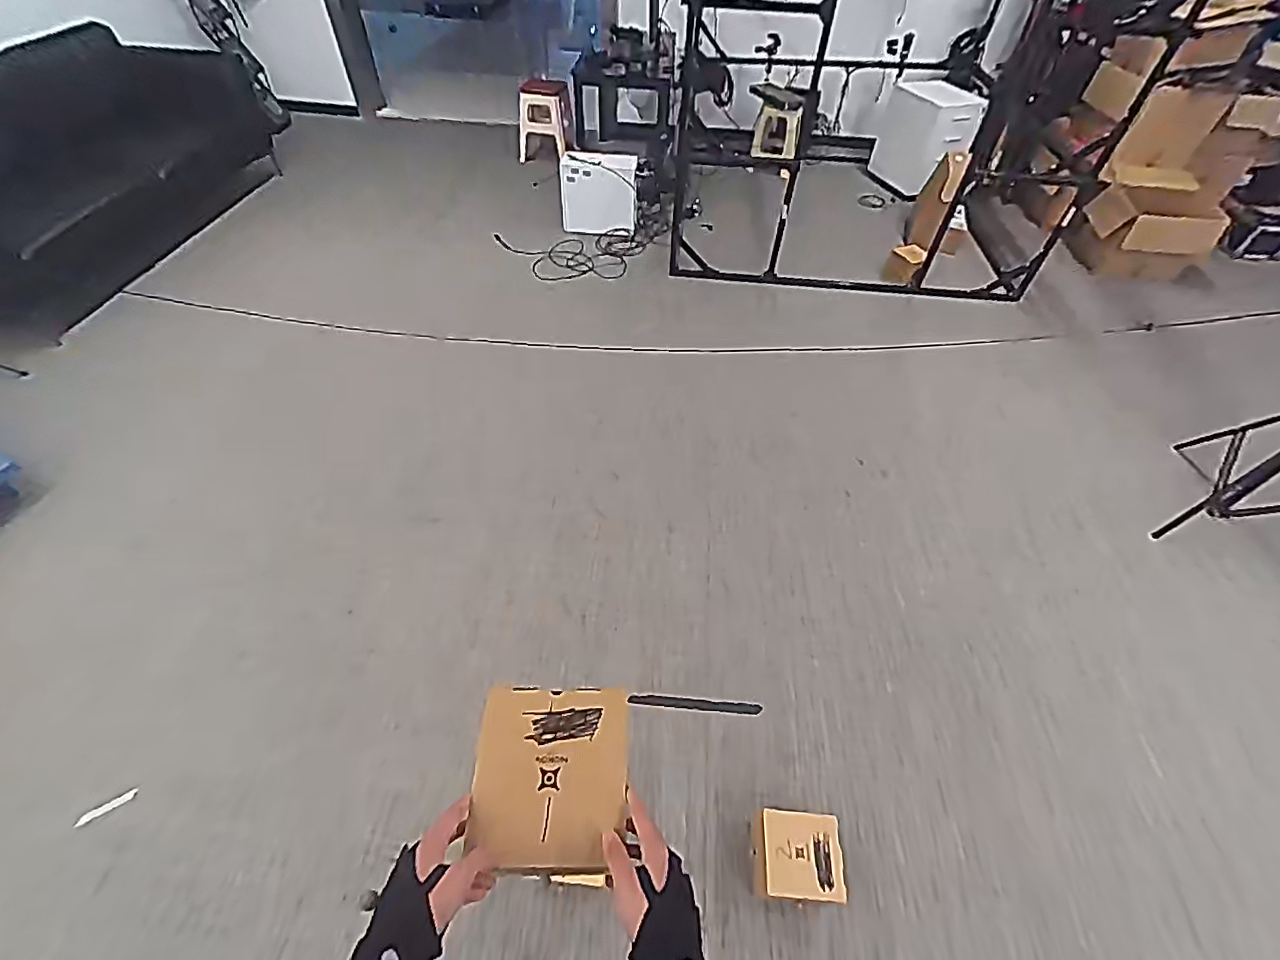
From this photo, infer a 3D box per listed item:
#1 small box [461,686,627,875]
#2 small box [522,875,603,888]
[{"bbox_3d":[-0.102,0.363,0.650,0.168,0.176,0.179,1,52,-3],"label":"small box"},{"bbox_3d":[-0.168,0.866,1.295,0.179,0.176,0.168,4,50,2],"label":"small box"}]
